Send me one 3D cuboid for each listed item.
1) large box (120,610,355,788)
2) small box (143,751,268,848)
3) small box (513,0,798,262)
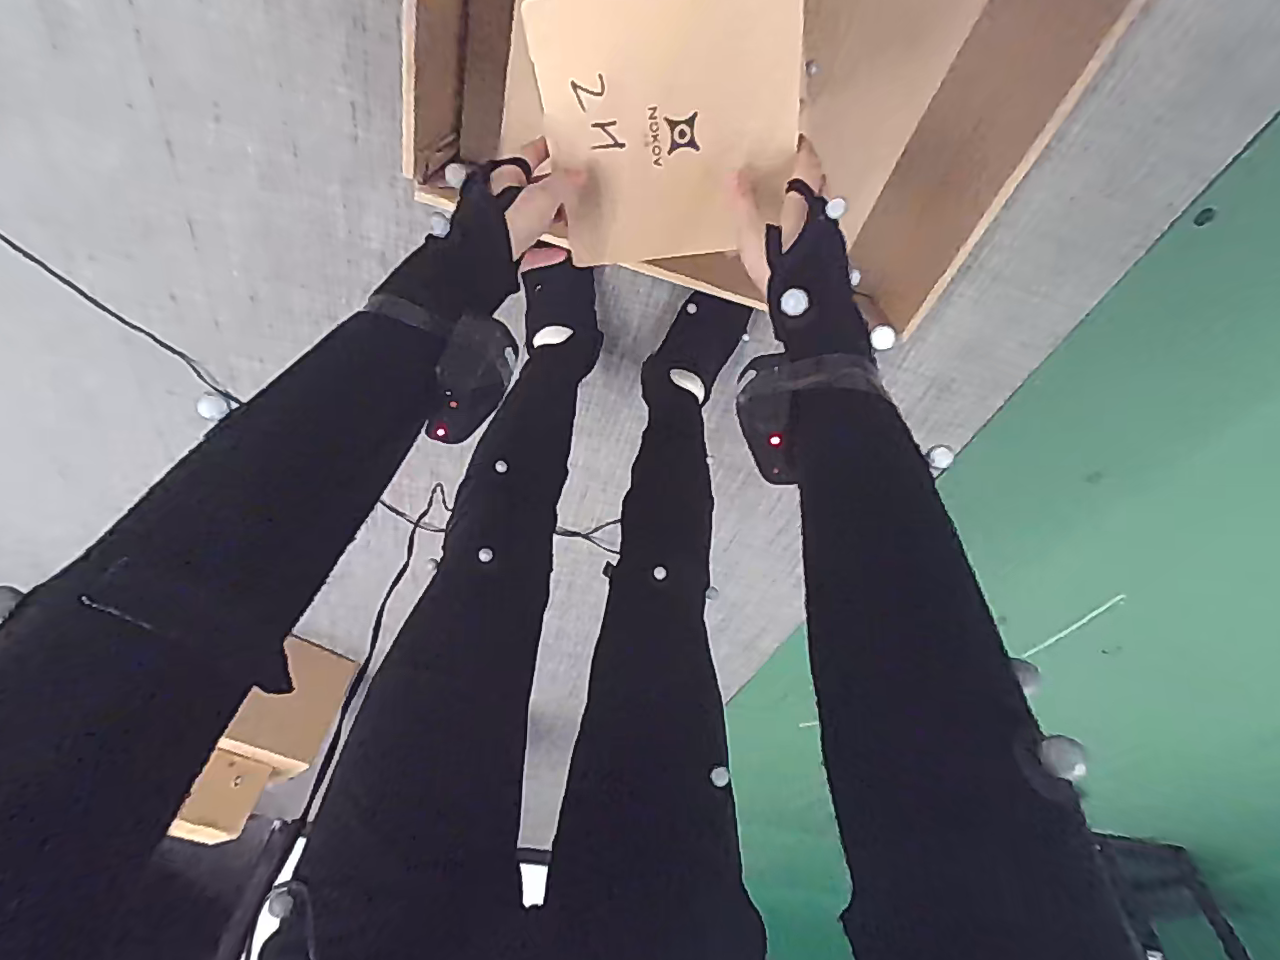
[{"bbox_3d":[-1.137,0.642,1.568,0.320,0.320,0.408,-34,121,29],"label":"large box"},{"bbox_3d":[-1.125,0.835,1.413,0.179,0.176,0.168,-29,124,27],"label":"small box"},{"bbox_3d":[0.021,-0.291,0.431,0.179,0.176,0.168,-2,128,9],"label":"small box"}]
